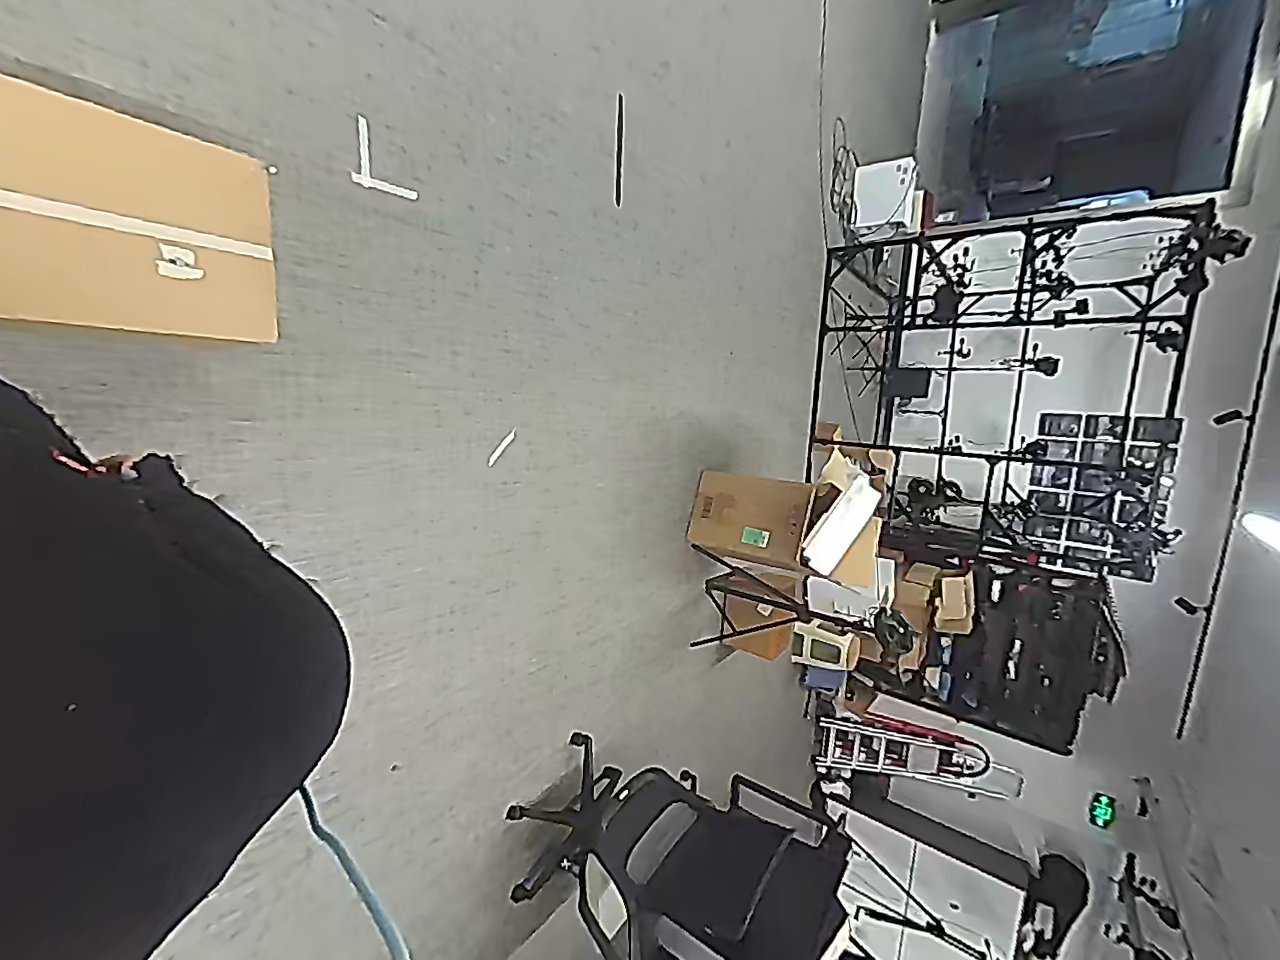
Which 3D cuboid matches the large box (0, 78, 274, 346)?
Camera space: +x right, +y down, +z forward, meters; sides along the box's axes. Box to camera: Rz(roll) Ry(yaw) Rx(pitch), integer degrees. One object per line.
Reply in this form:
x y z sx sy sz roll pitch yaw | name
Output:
-0.902 -0.397 0.887 0.408 0.320 0.320 -10 106 -54 | large box
